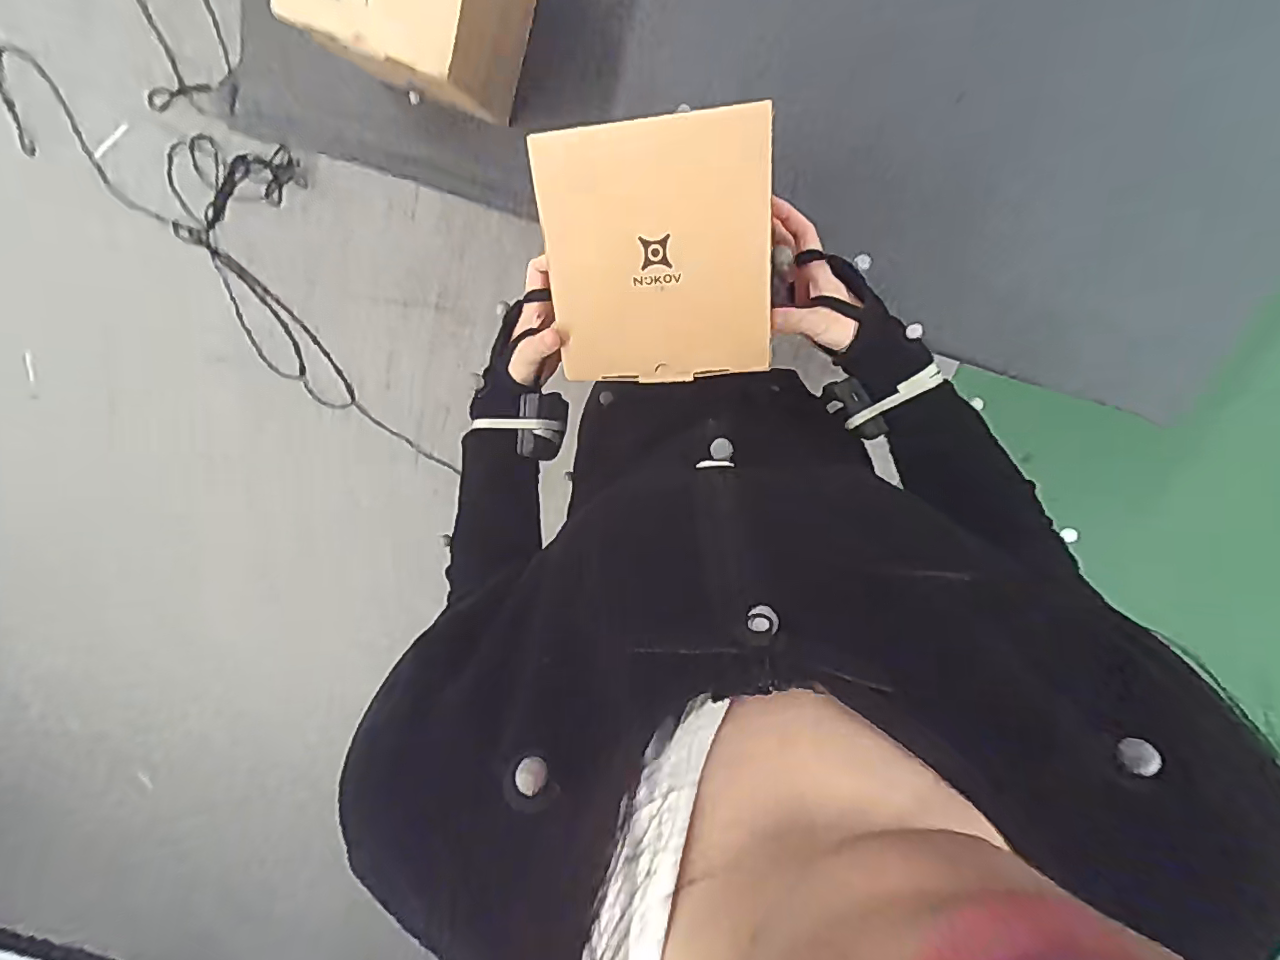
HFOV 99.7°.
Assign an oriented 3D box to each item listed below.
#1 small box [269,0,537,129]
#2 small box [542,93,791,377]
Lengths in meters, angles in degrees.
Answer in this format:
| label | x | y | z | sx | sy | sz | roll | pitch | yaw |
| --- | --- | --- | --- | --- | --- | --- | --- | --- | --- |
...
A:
| label | x | y | z | sx | sy | sz | roll | pitch | yaw |
| --- | --- | --- | --- | --- | --- | --- | --- | --- | --- |
| small box | -0.205 | -0.473 | 0.509 | 0.168 | 0.176 | 0.179 | 20 | 110 | -3 |
| small box | 0.029 | -0.196 | 0.456 | 0.168 | 0.176 | 0.179 | -2 | 116 | 9 |
